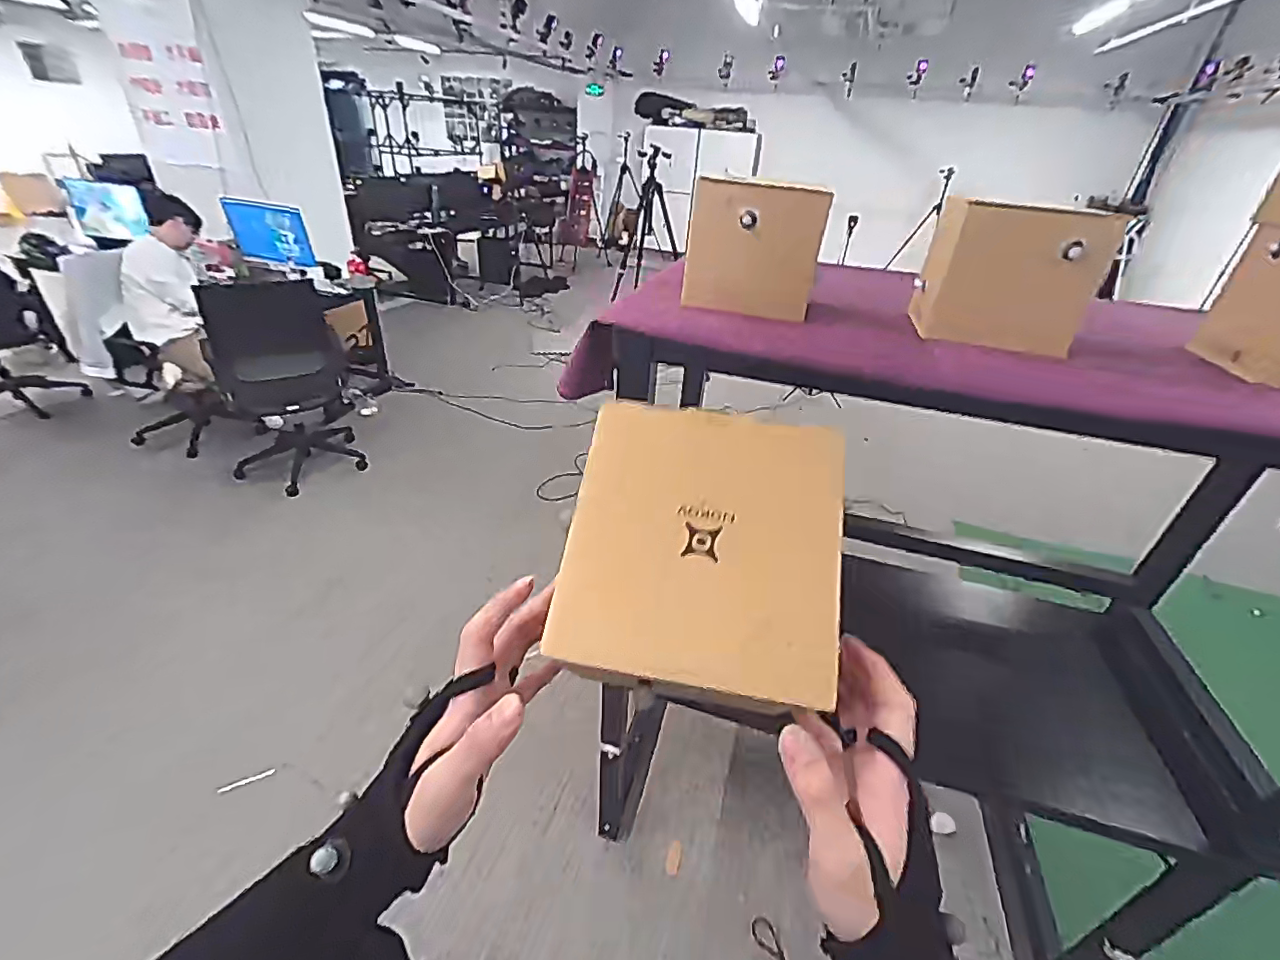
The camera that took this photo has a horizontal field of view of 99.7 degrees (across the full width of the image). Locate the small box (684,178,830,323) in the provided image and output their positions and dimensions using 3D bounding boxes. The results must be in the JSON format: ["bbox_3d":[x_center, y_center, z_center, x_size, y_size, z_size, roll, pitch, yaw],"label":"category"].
[{"bbox_3d":[0.167,-0.338,0.792,0.179,0.176,0.168,11,33,10],"label":"small box"}]

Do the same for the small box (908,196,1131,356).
[{"bbox_3d":[0.487,-0.276,0.729,0.179,0.176,0.168,12,32,13],"label":"small box"}]

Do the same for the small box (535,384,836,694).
[{"bbox_3d":[0.038,0.054,0.404,0.168,0.176,0.179,8,66,7],"label":"small box"}]

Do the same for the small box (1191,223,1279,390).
[{"bbox_3d":[0.842,-0.199,0.645,0.179,0.176,0.168,12,31,12],"label":"small box"}]
